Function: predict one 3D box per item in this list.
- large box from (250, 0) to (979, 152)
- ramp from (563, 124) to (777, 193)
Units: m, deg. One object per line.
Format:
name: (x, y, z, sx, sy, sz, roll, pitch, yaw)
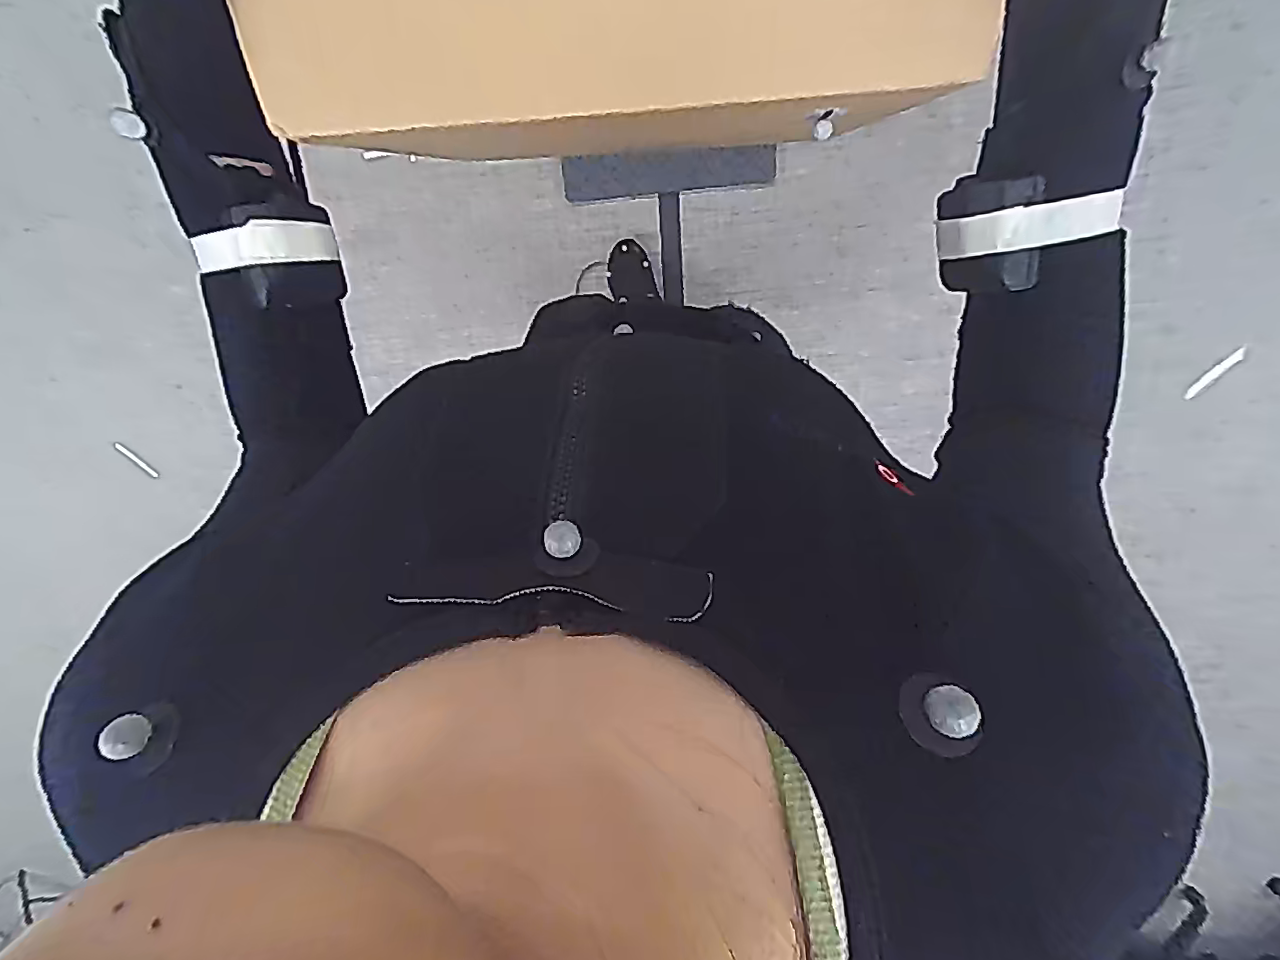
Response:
large box: (-0.015, -0.424, 0.373, 0.408, 0.320, 0.320, -1, 118, 5)
ramp: (0.028, -1.128, 1.022, 0.509, 0.206, 0.991, -5, 110, 5)
